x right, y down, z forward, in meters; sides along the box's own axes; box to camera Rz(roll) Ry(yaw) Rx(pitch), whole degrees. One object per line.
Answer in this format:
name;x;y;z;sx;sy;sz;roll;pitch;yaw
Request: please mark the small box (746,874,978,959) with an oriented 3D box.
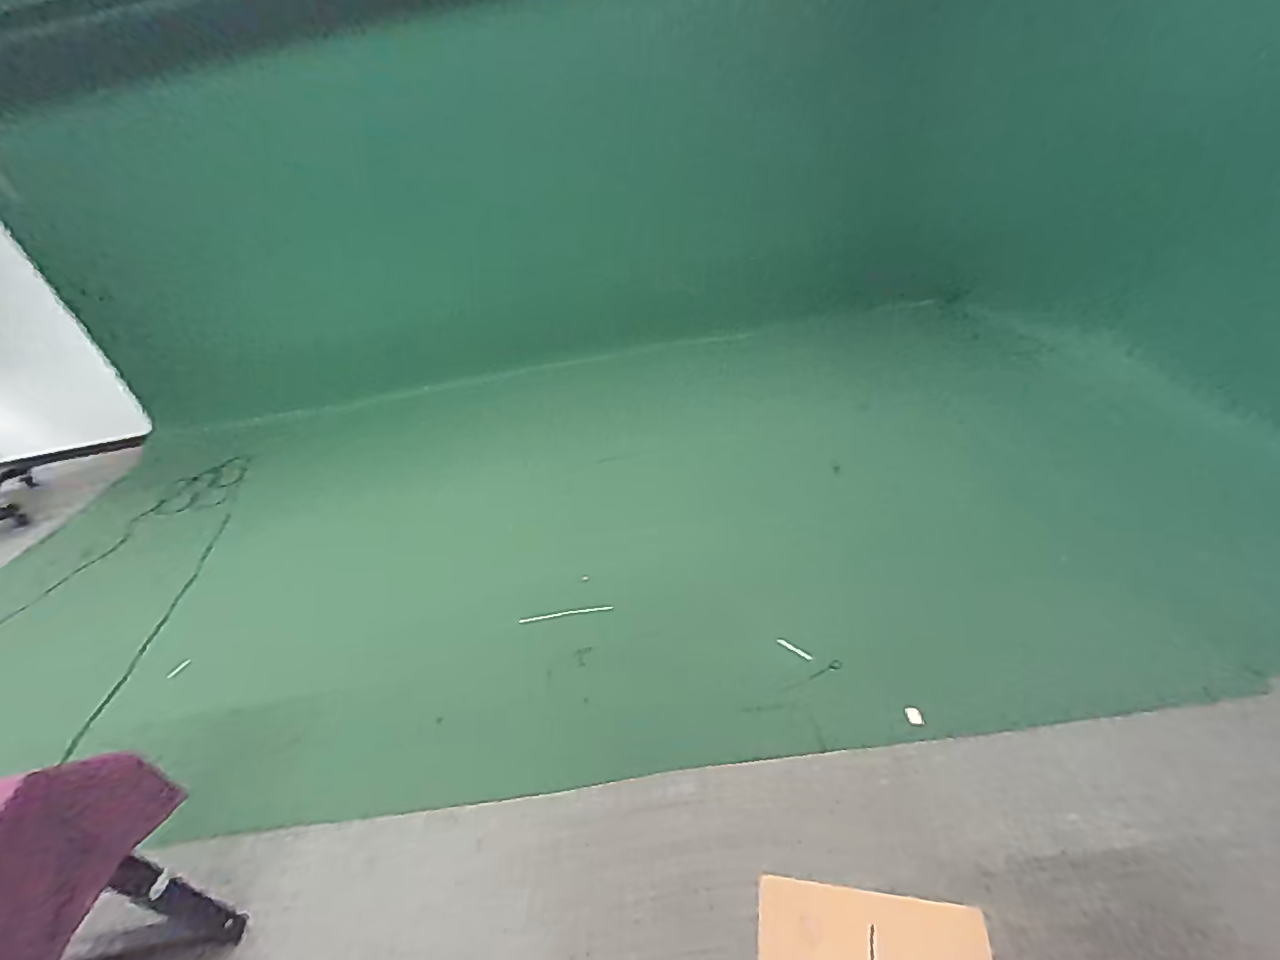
small box;0.169;0.442;0.421;0.168;0.176;0.179;-1;43;13
